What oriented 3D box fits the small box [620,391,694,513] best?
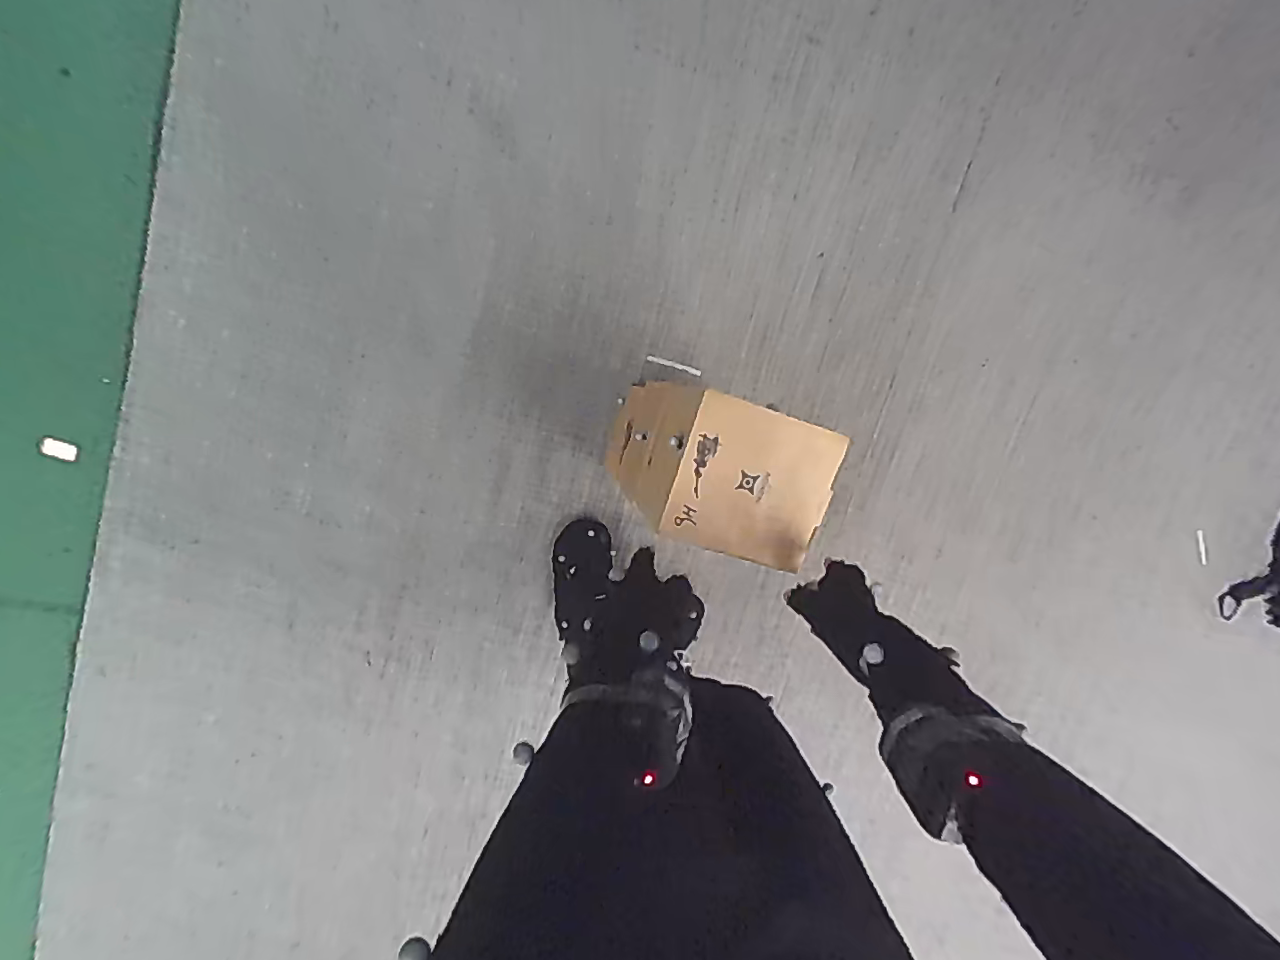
[{"bbox_3d":[0.074,-0.033,0.826,0.168,0.176,0.179,15,99,-11],"label":"small box"}]

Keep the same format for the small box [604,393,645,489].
[{"bbox_3d":[0.041,-0.058,1.000,0.179,0.176,0.168,15,98,-13],"label":"small box"}]

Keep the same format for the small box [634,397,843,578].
[{"bbox_3d":[0.107,-0.002,0.669,0.179,0.176,0.168,17,97,-12],"label":"small box"}]
